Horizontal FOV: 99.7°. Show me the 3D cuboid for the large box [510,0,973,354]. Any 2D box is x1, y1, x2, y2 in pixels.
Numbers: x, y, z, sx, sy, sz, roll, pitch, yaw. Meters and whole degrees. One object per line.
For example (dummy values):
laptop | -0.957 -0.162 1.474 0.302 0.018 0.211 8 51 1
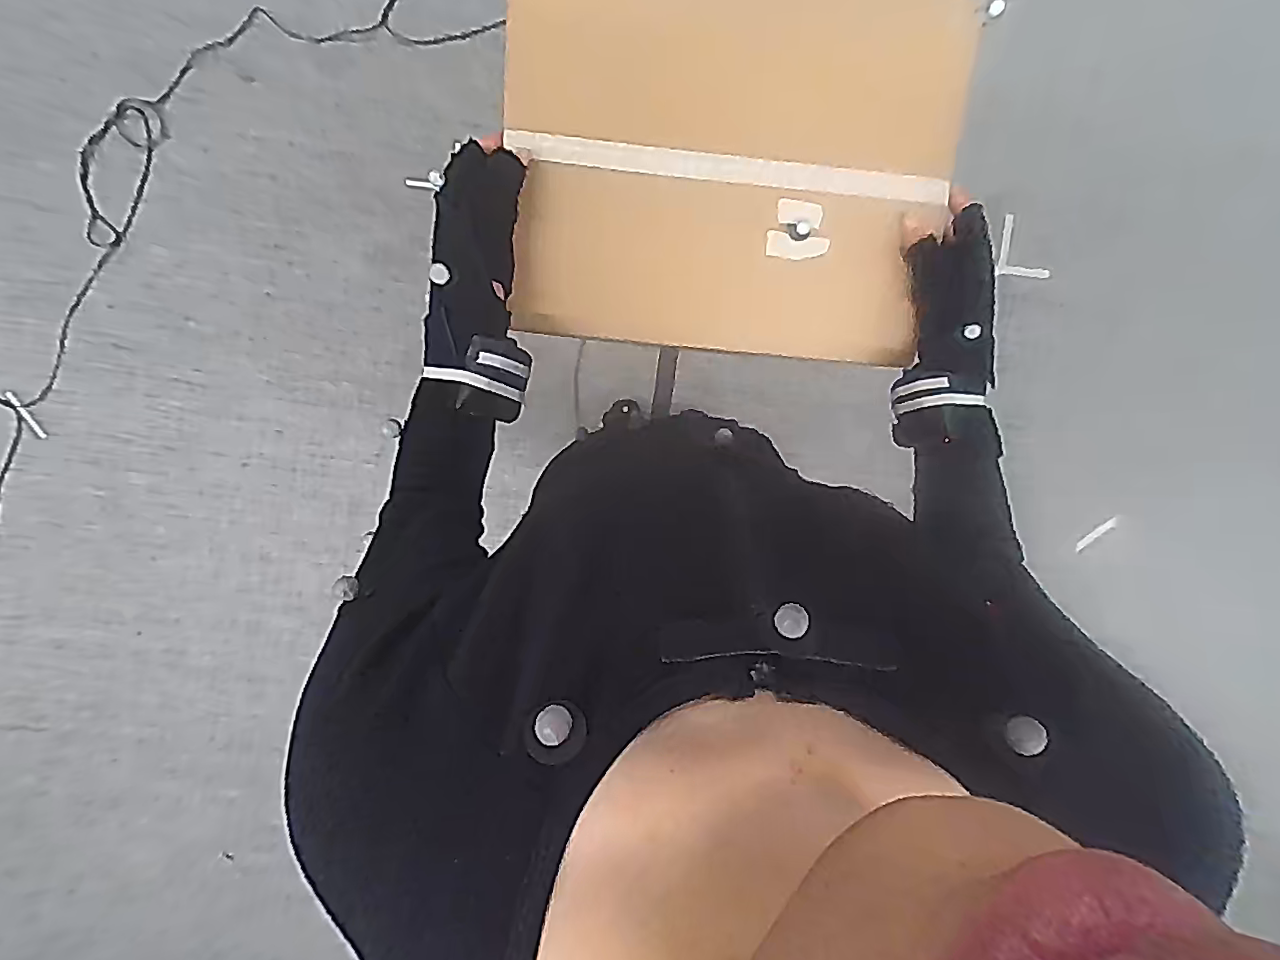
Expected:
large box | 0.073 -0.319 0.634 0.408 0.320 0.320 4 104 -5
